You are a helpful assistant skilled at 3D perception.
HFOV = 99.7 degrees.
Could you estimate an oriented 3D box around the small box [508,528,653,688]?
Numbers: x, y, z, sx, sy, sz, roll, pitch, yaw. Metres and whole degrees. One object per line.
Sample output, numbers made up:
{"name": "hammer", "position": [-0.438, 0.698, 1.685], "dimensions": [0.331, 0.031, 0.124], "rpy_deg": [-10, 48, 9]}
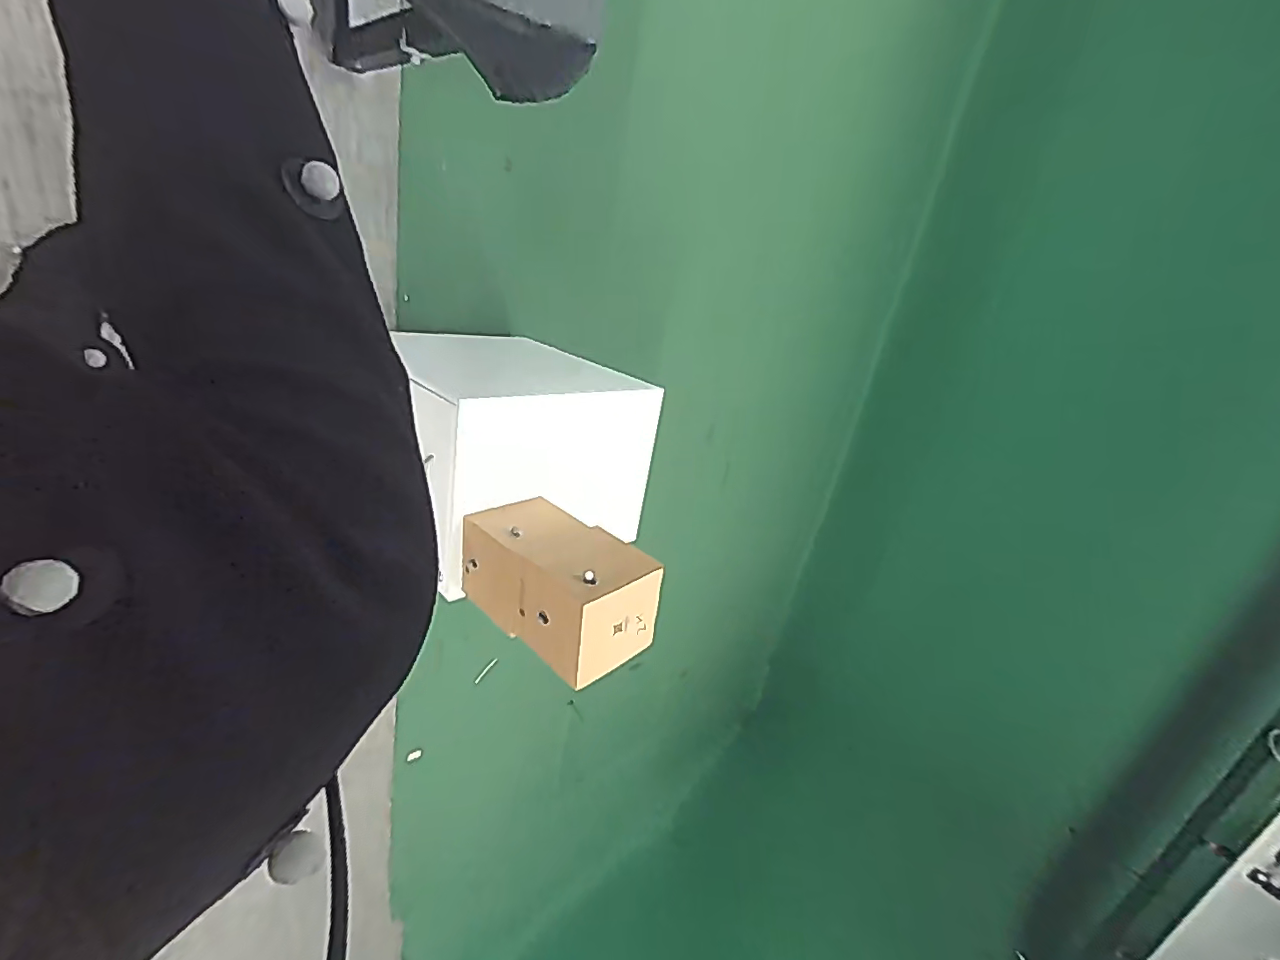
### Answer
{"name": "small box", "position": [-0.105, 0.202, 0.906], "dimensions": [0.179, 0.176, 0.168], "rpy_deg": [-18, 125, -44]}
